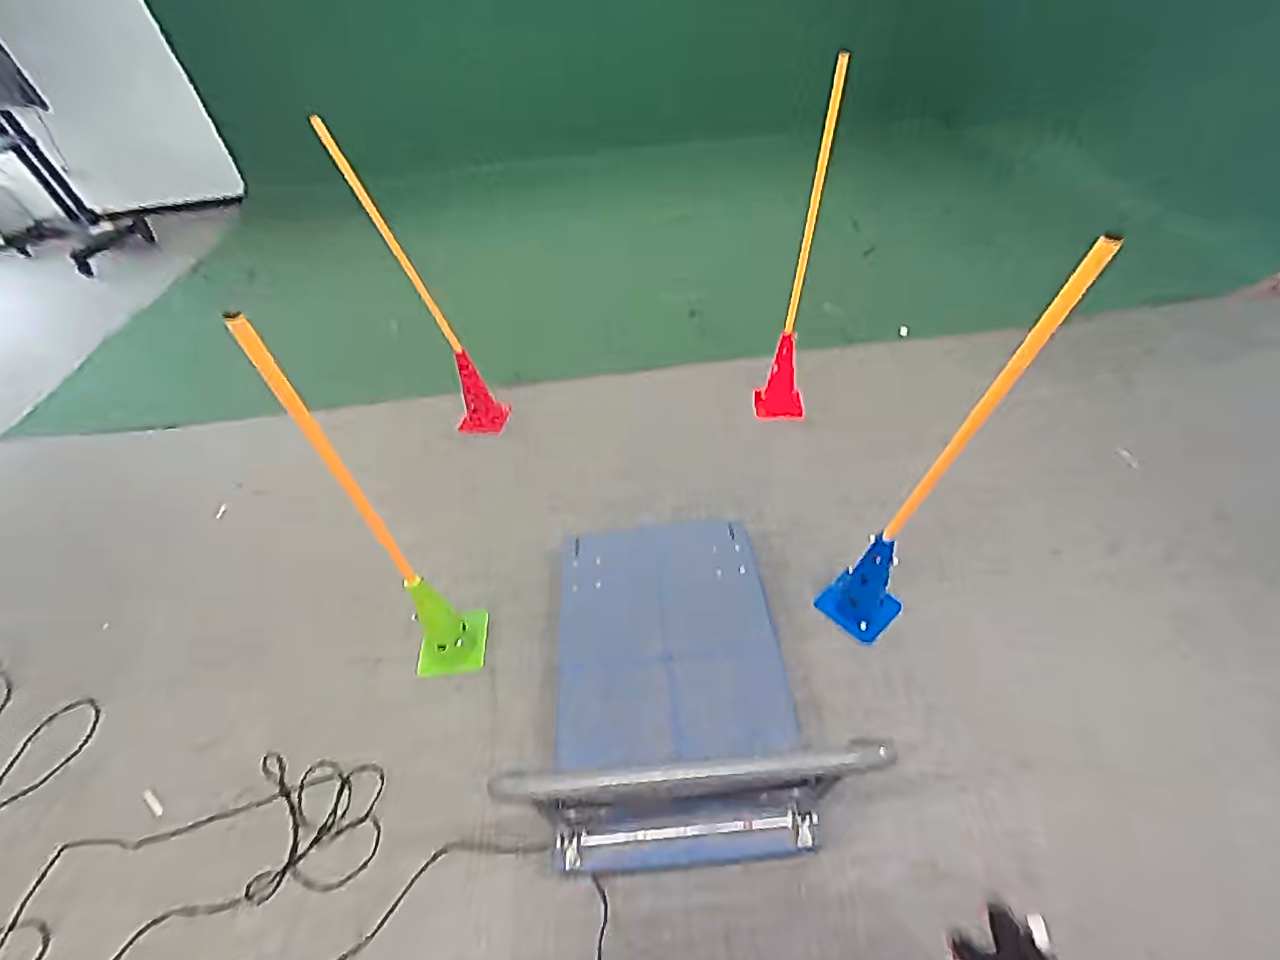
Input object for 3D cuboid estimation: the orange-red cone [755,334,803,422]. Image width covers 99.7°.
[{"bbox_3d":[0.582,-0.431,2.209,0.198,0.360,0.199,1,47,8],"label":"orange-red cone"}]
